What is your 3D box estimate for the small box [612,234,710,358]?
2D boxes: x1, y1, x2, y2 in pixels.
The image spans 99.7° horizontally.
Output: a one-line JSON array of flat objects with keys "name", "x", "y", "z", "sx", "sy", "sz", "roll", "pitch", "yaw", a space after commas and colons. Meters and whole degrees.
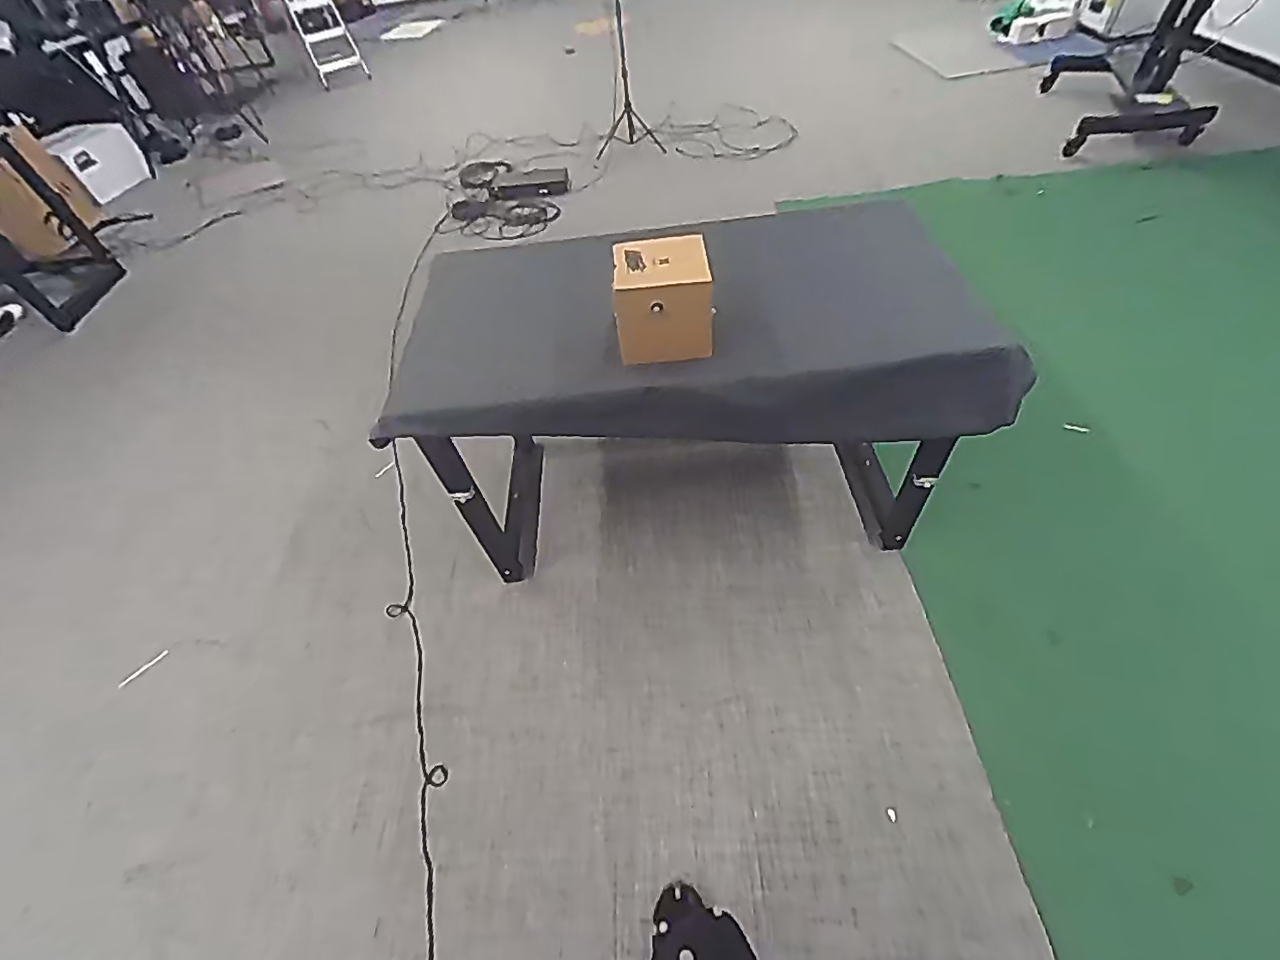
[{"name": "small box", "x": 0.044, "y": -0.355, "z": 1.059, "sx": 0.179, "sy": 0.176, "sz": 0.168, "roll": -4, "pitch": 51, "yaw": 3}]
